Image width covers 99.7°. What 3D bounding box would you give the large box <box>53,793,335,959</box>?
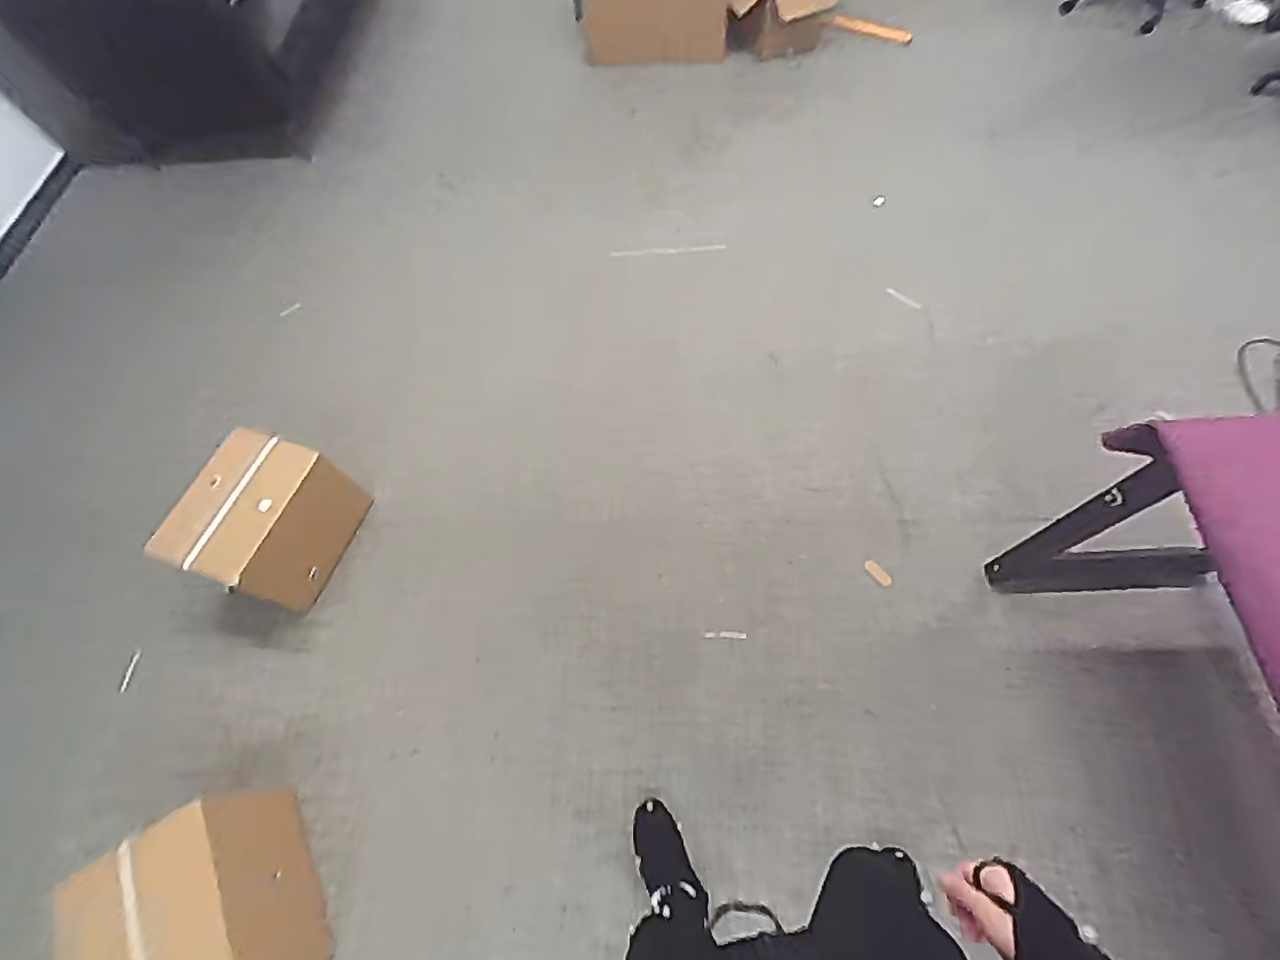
[{"bbox_3d":[-0.947,0.974,1.177,0.320,0.320,0.408,-31,66,-9],"label":"large box"}]
